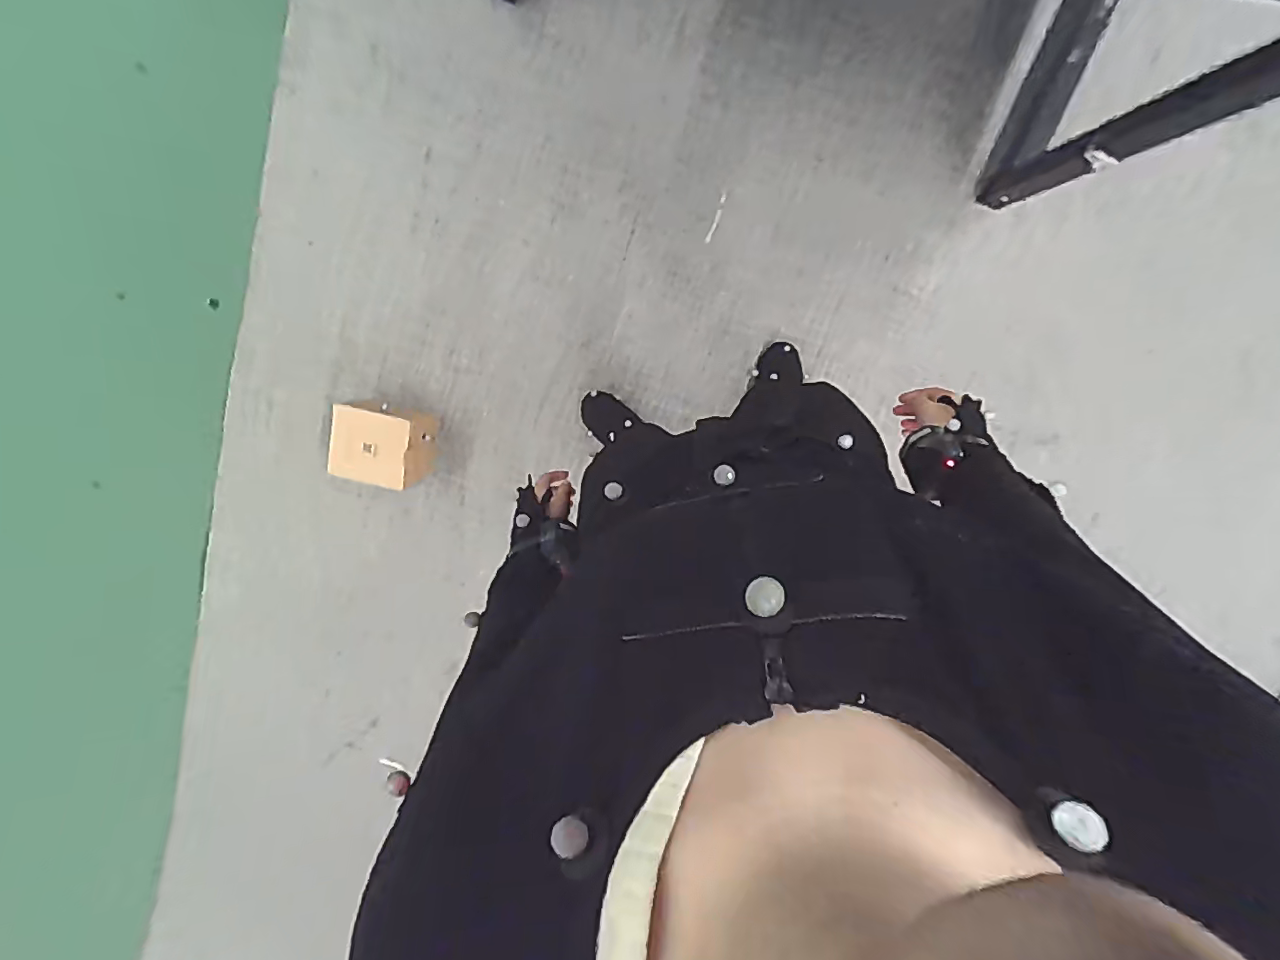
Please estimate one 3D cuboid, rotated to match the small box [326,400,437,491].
[{"bbox_3d":[-0.599,-0.087,1.271,0.179,0.176,0.168,13,103,-1],"label":"small box"}]
